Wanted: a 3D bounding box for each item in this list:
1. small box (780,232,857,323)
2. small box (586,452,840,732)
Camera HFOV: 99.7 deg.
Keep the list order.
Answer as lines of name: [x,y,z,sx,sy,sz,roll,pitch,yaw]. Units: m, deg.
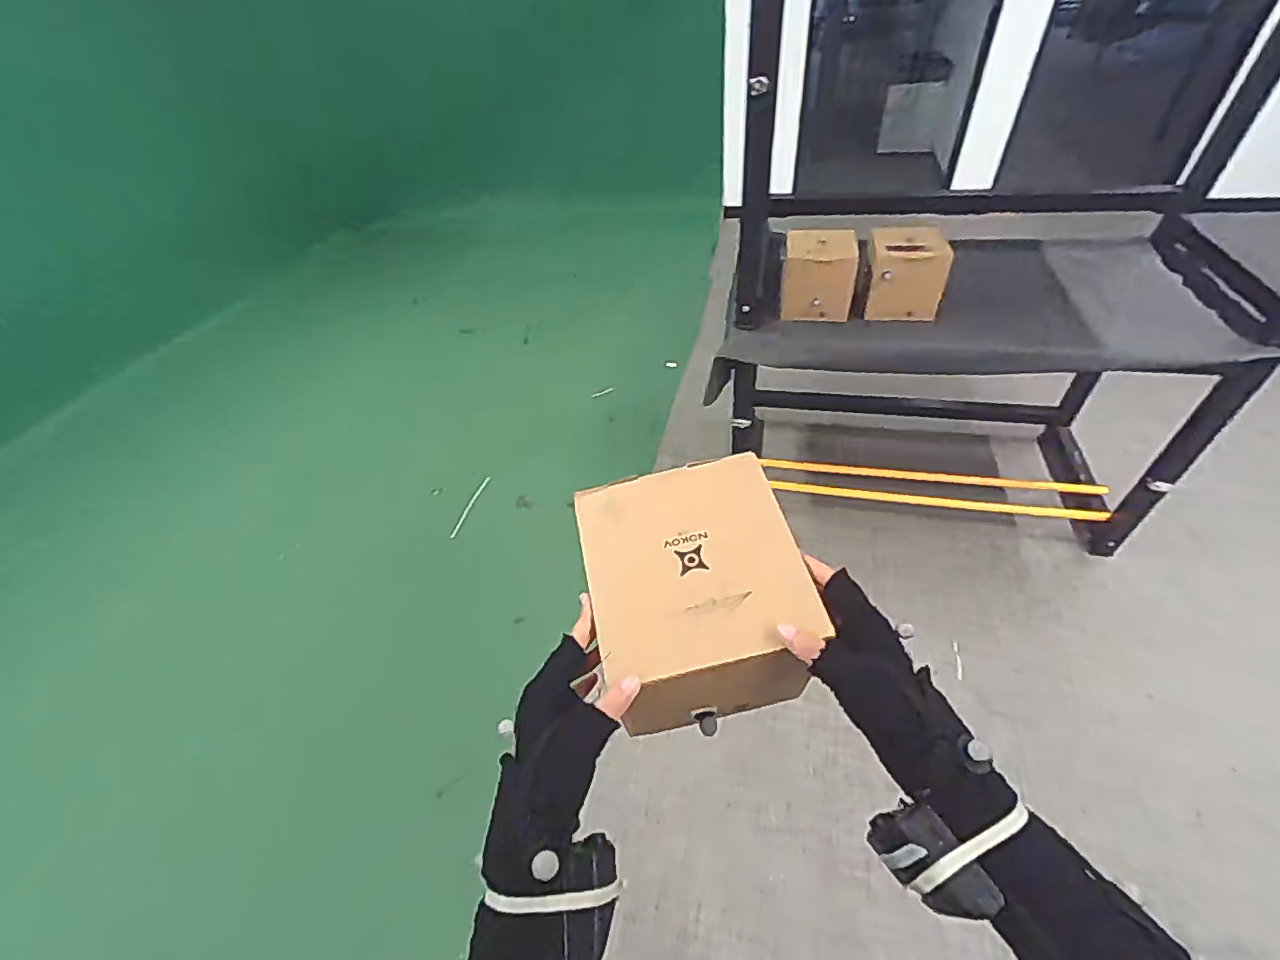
small box: [0.458,-0.530,1.411,0.168,0.176,0.179,5,46,11]
small box: [0.052,0.105,0.489,0.168,0.176,0.179,-12,54,-3]
